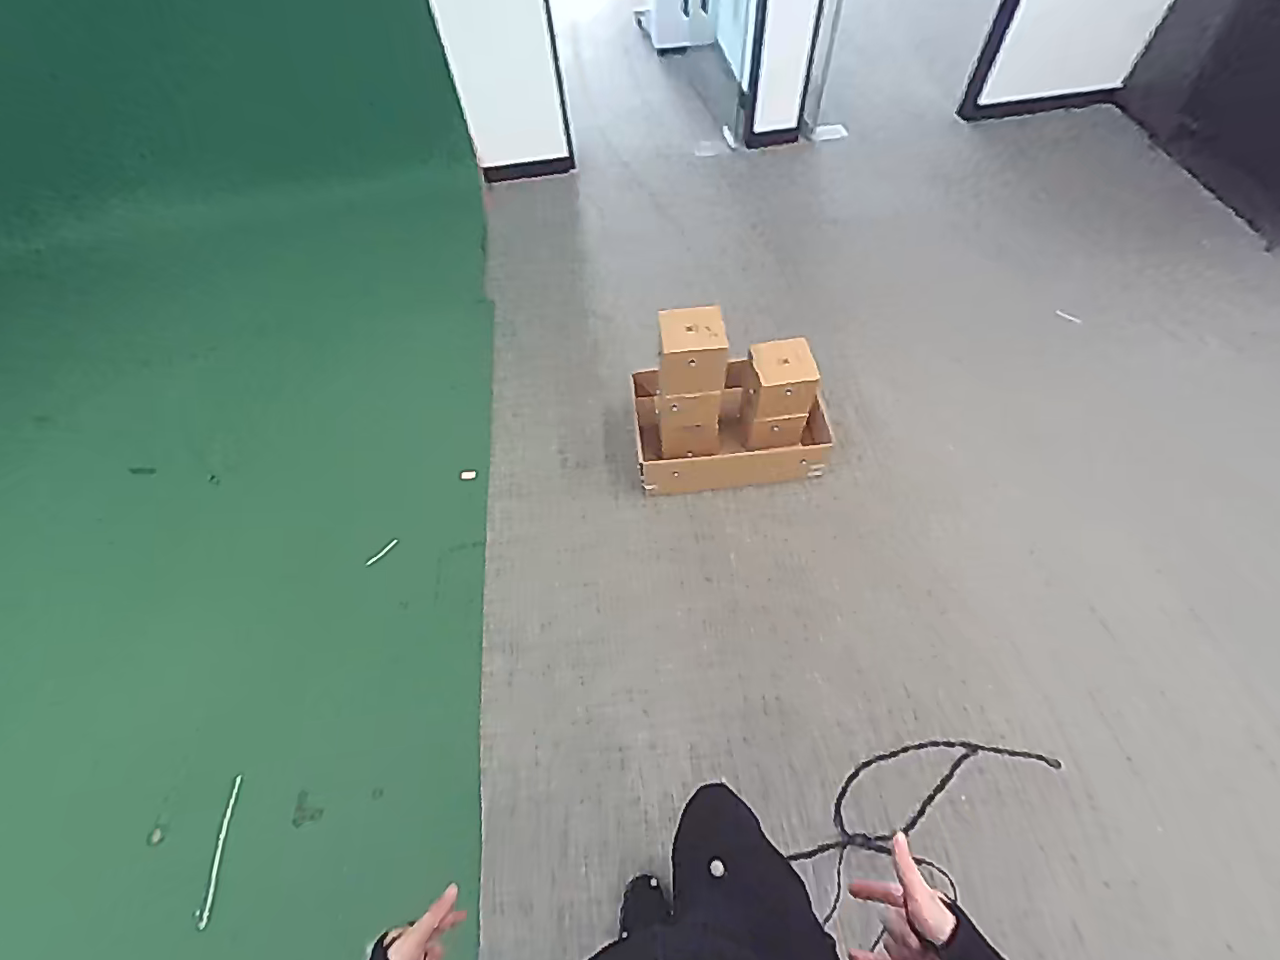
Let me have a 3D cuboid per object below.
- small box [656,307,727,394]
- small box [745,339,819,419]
[{"bbox_3d":[0.140,-0.358,1.517,0.179,0.176,0.168,-5,58,0],"label":"small box"},{"bbox_3d":[0.426,-0.305,1.662,0.179,0.176,0.168,-8,60,-1],"label":"small box"}]
